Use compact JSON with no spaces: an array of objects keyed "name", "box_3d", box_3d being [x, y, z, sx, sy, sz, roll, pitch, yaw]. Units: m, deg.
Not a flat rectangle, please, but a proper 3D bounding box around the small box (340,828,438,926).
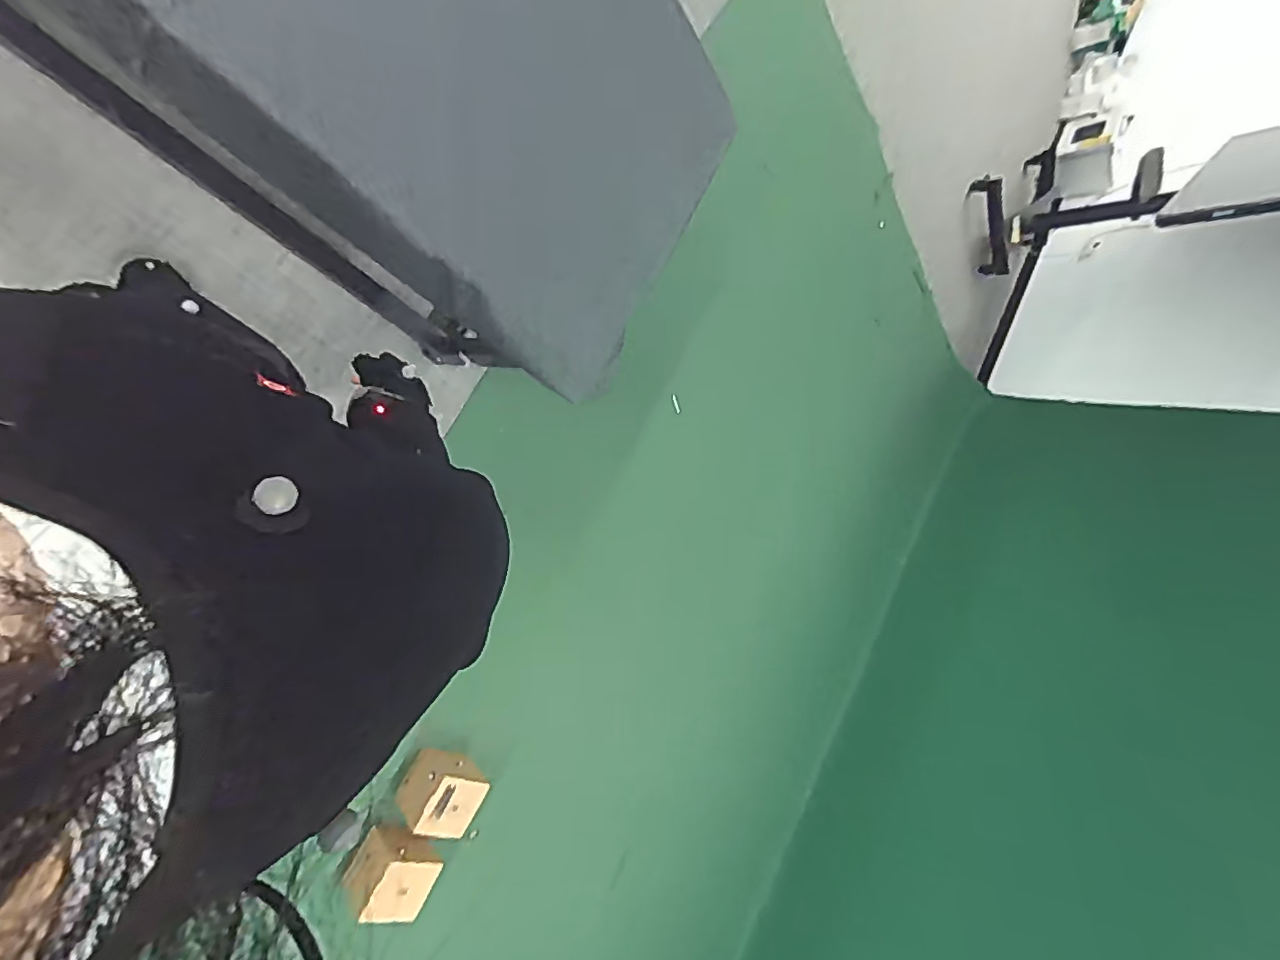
[{"name":"small box","box_3d":[-0.731,1.146,1.571,0.179,0.176,0.168,38,75,-39]}]
